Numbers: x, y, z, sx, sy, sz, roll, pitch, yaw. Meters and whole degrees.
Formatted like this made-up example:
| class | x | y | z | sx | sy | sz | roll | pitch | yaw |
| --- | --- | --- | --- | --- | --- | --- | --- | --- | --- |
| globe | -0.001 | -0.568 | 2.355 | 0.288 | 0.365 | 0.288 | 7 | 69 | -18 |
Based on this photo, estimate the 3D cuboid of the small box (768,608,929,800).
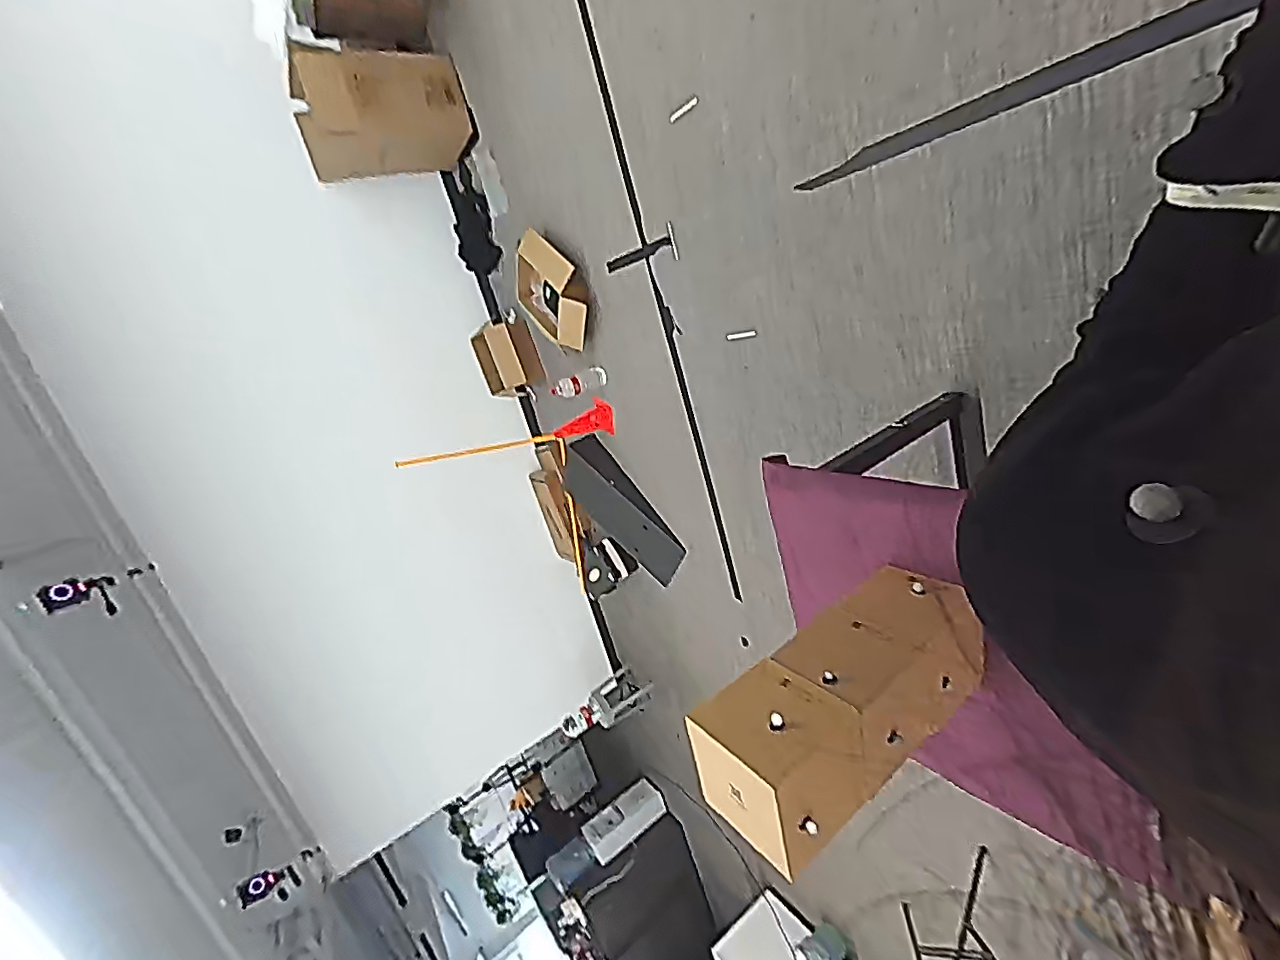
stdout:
| class | x | y | z | sx | sy | sz | roll | pitch | yaw |
| --- | --- | --- | --- | --- | --- | --- | --- | --- | --- |
| small box | 0.327 | 0.334 | 0.839 | 0.168 | 0.176 | 0.179 | 17 | 128 | 53 |

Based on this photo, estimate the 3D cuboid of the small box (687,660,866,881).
| class | x | y | z | sx | sy | sz | roll | pitch | yaw |
| --- | --- | --- | --- | --- | --- | --- | --- | --- | --- |
| small box | 0.194 | 0.390 | 0.761 | 0.168 | 0.176 | 0.179 | 17 | 127 | 53 |

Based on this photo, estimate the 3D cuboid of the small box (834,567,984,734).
| class | x | y | z | sx | sy | sz | roll | pitch | yaw |
| --- | --- | --- | --- | --- | --- | --- | --- | --- | --- |
| small box | 0.459 | 0.277 | 0.917 | 0.168 | 0.176 | 0.179 | 14 | 124 | 55 |
